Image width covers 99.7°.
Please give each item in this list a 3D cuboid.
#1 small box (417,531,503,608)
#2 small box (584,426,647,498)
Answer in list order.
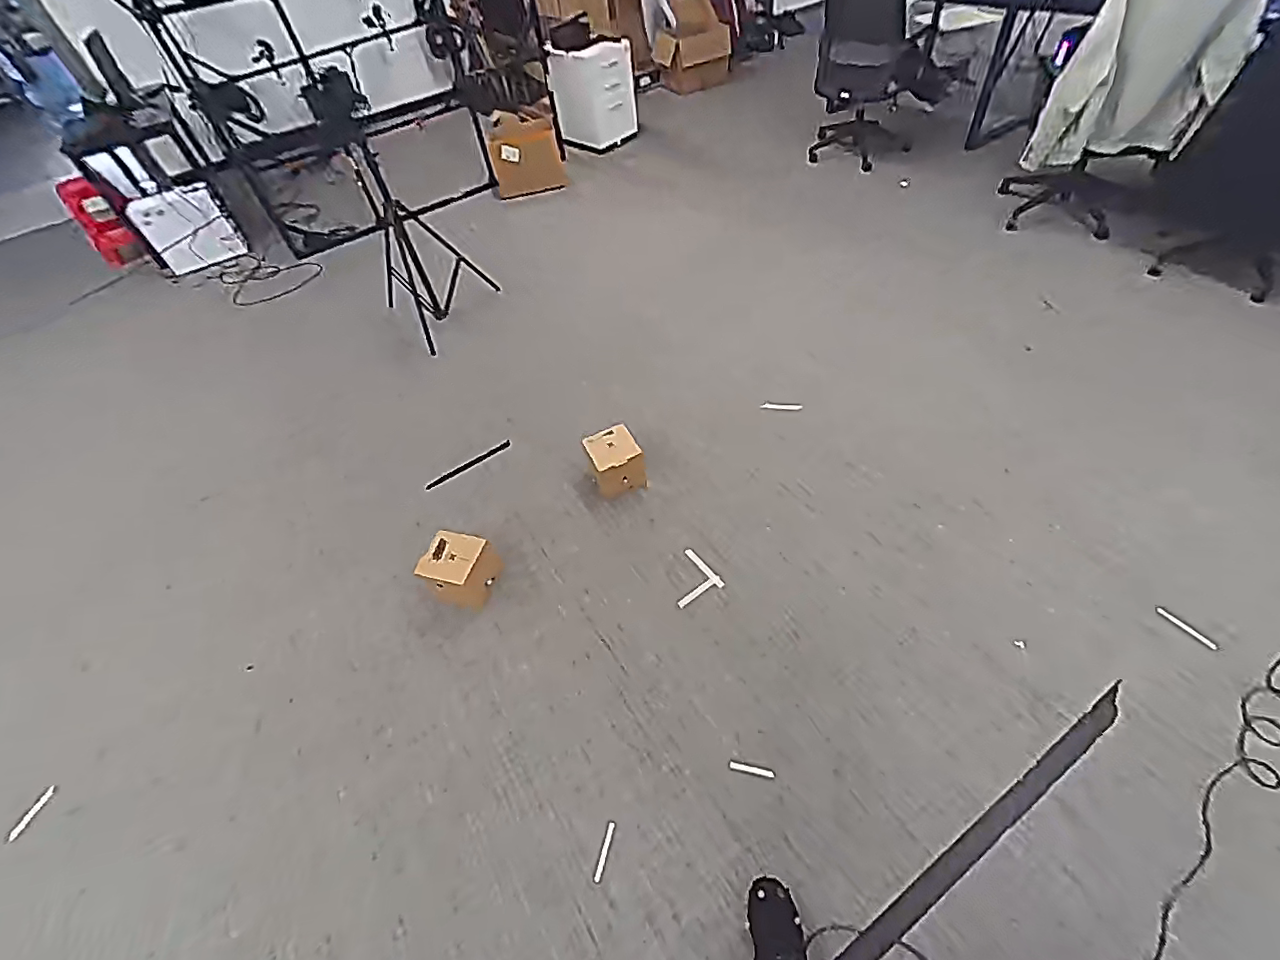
[{"bbox_3d":[-0.567,0.289,1.726,0.179,0.176,0.168,10,53,15],"label":"small box"},{"bbox_3d":[-0.085,-0.056,1.946,0.168,0.176,0.179,-23,51,-11],"label":"small box"}]
